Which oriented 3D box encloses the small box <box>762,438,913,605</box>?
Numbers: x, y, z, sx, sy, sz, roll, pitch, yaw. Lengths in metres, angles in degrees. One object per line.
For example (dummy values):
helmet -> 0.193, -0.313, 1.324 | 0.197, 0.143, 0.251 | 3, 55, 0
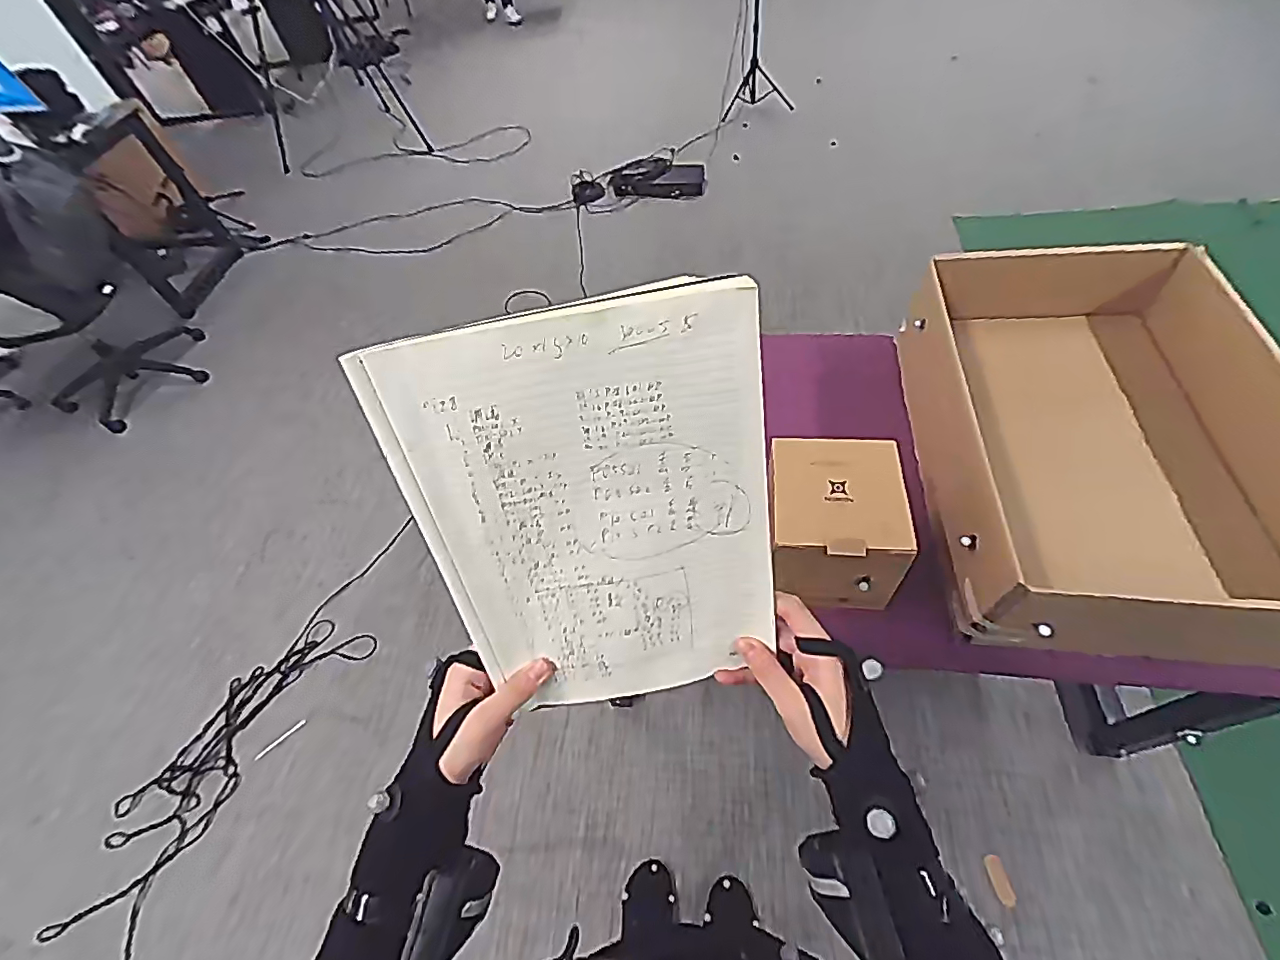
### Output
small box -> 0.262, 0.061, 0.756 | 0.168, 0.176, 0.179 | 2, 53, 9
